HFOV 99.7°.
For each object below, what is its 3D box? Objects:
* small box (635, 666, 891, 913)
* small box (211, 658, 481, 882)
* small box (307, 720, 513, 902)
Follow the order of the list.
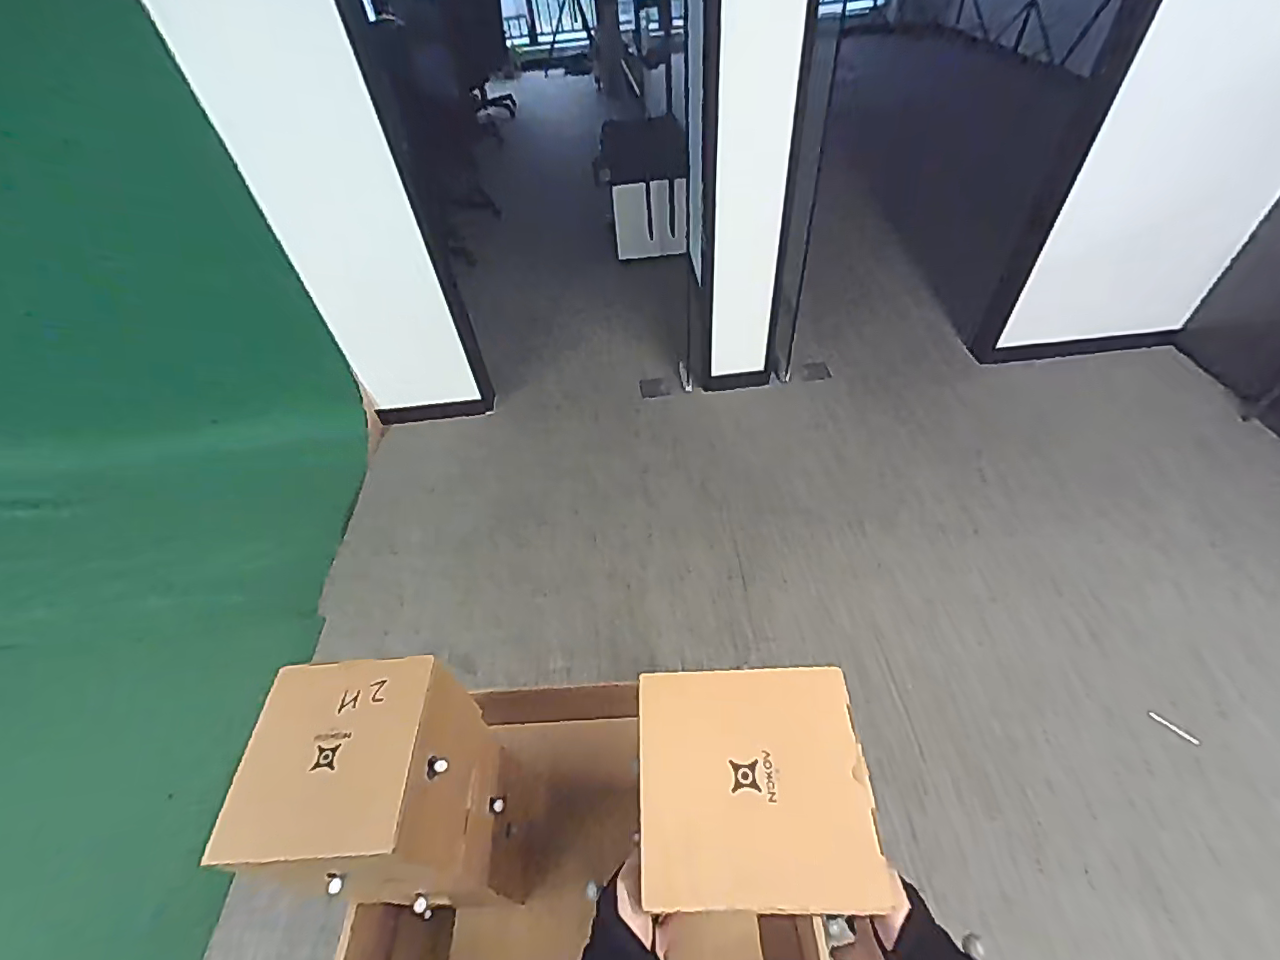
[{"bbox_3d":[0.091,0.276,0.479,0.179,0.176,0.168,-3,52,4],"label":"small box"},{"bbox_3d":[-0.281,0.310,0.570,0.168,0.176,0.179,-4,47,2],"label":"small box"},{"bbox_3d":[-0.270,0.423,0.690,0.179,0.176,0.168,-6,47,1],"label":"small box"}]
